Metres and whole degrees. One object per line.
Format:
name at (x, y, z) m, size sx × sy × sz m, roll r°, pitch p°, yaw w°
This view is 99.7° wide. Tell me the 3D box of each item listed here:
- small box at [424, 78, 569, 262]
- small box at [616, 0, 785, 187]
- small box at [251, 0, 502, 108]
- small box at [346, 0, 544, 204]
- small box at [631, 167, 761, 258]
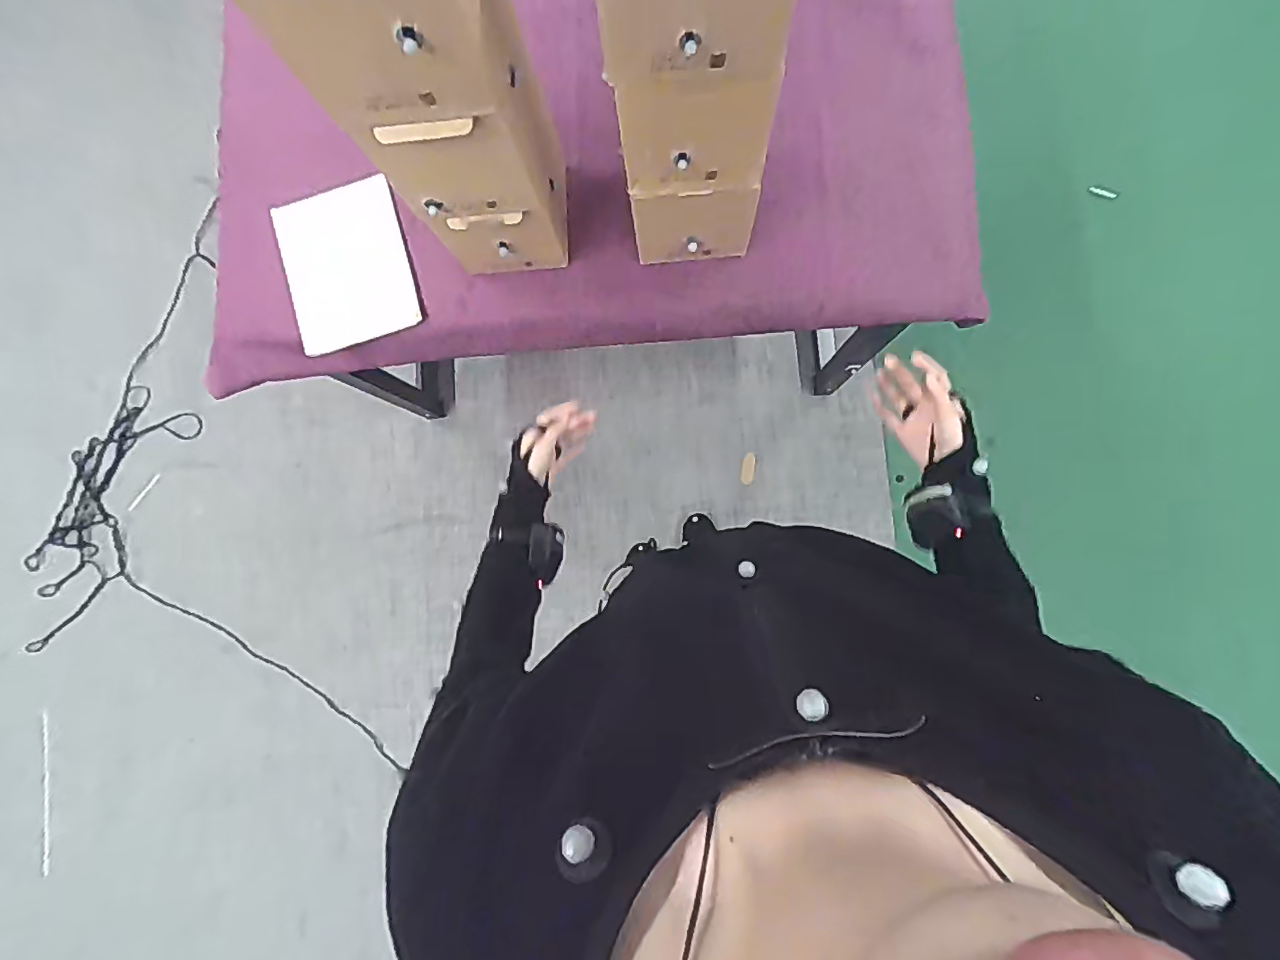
small box at (-0.200, -0.435, 0.790) m, size 0.168 × 0.176 × 0.179 m, roll -3°, pitch 85°, yaw 3°
small box at (0.061, -0.467, 0.609) m, size 0.168 × 0.176 × 0.179 m, roll -3°, pitch 84°, yaw 4°
small box at (-0.222, -0.454, 0.463) m, size 0.168 × 0.176 × 0.179 m, roll -2°, pitch 84°, yaw 3°
small box at (-0.211, -0.443, 0.625) m, size 0.168 × 0.176 × 0.179 m, roll -3°, pitch 84°, yaw 4°
small box at (0.075, -0.444, 0.769) m, size 0.168 × 0.176 × 0.179 m, roll -3°, pitch 84°, yaw 5°
